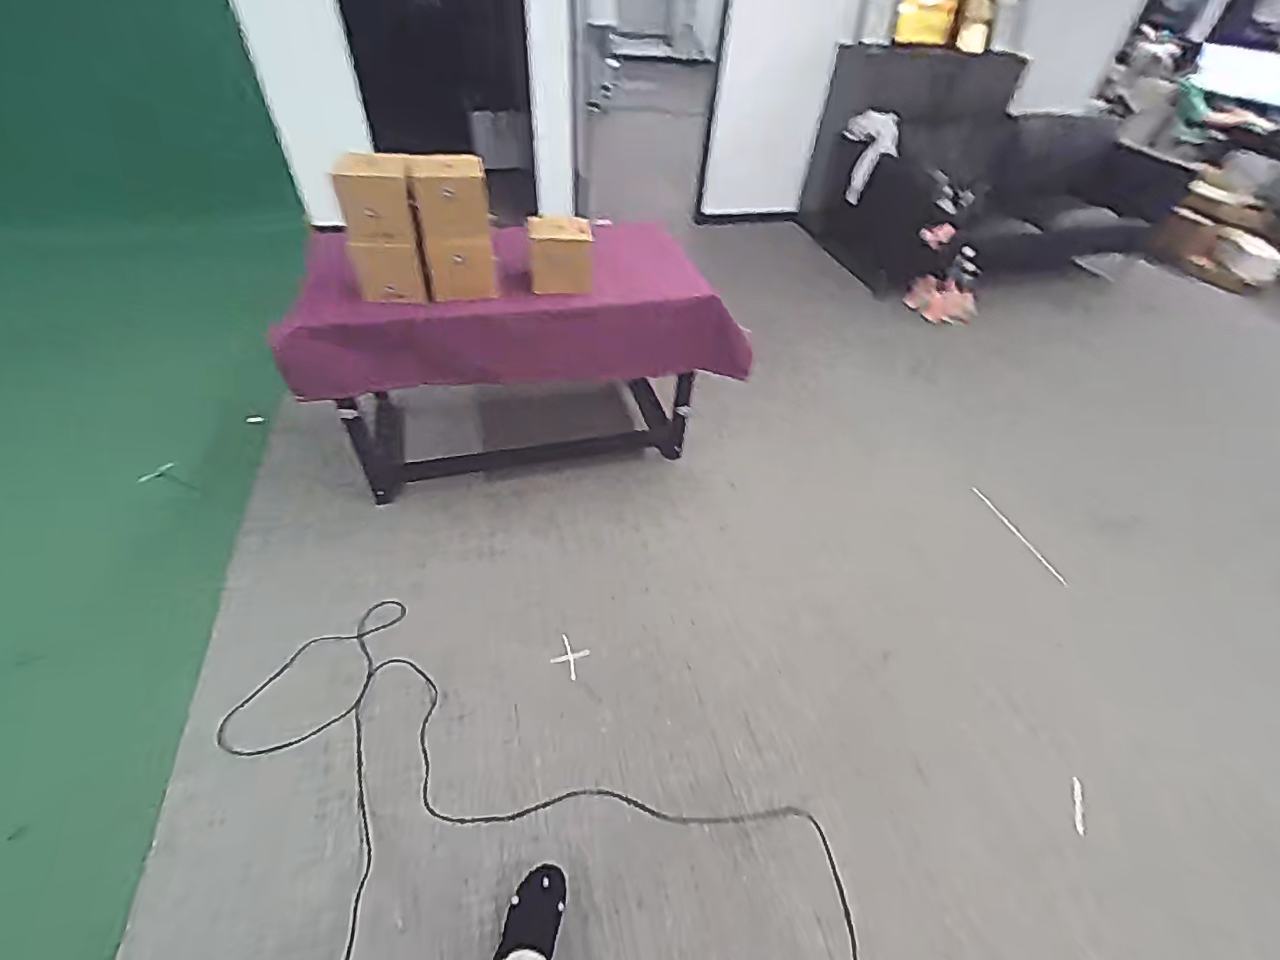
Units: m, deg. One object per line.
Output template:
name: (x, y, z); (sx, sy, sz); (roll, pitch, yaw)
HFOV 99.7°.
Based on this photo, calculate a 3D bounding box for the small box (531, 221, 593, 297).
small box: (-0.236, -0.672, 1.650); (0.179, 0.176, 0.168); (-3, 46, -9)
